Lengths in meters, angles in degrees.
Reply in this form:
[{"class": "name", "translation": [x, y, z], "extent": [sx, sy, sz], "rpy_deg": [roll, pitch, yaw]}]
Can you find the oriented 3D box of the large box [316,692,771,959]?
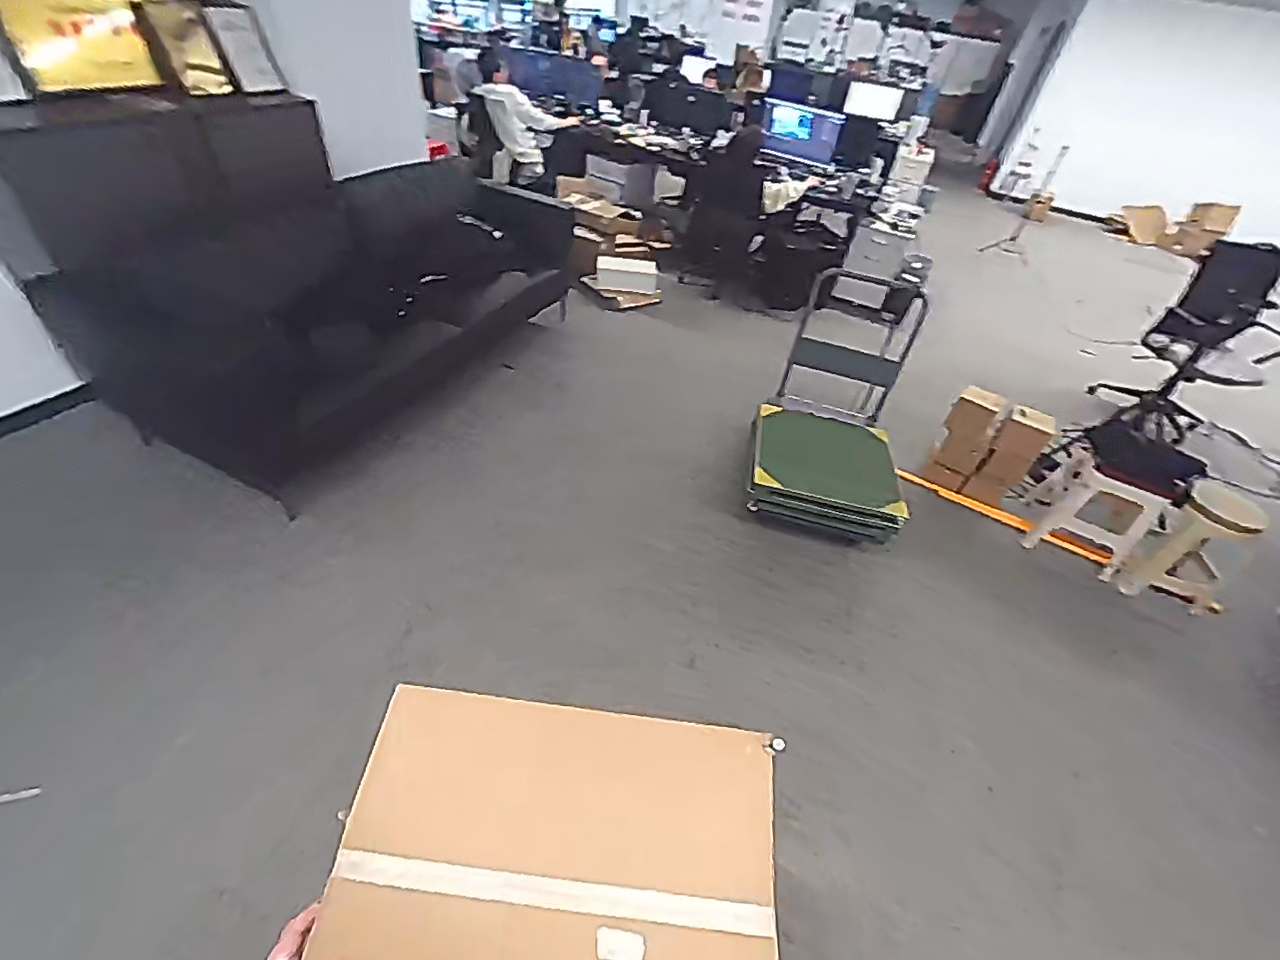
[{"class": "large box", "translation": [-0.087, 0.456, 0.627], "extent": [0.408, 0.320, 0.320], "rpy_deg": [7, 58, 0]}]
